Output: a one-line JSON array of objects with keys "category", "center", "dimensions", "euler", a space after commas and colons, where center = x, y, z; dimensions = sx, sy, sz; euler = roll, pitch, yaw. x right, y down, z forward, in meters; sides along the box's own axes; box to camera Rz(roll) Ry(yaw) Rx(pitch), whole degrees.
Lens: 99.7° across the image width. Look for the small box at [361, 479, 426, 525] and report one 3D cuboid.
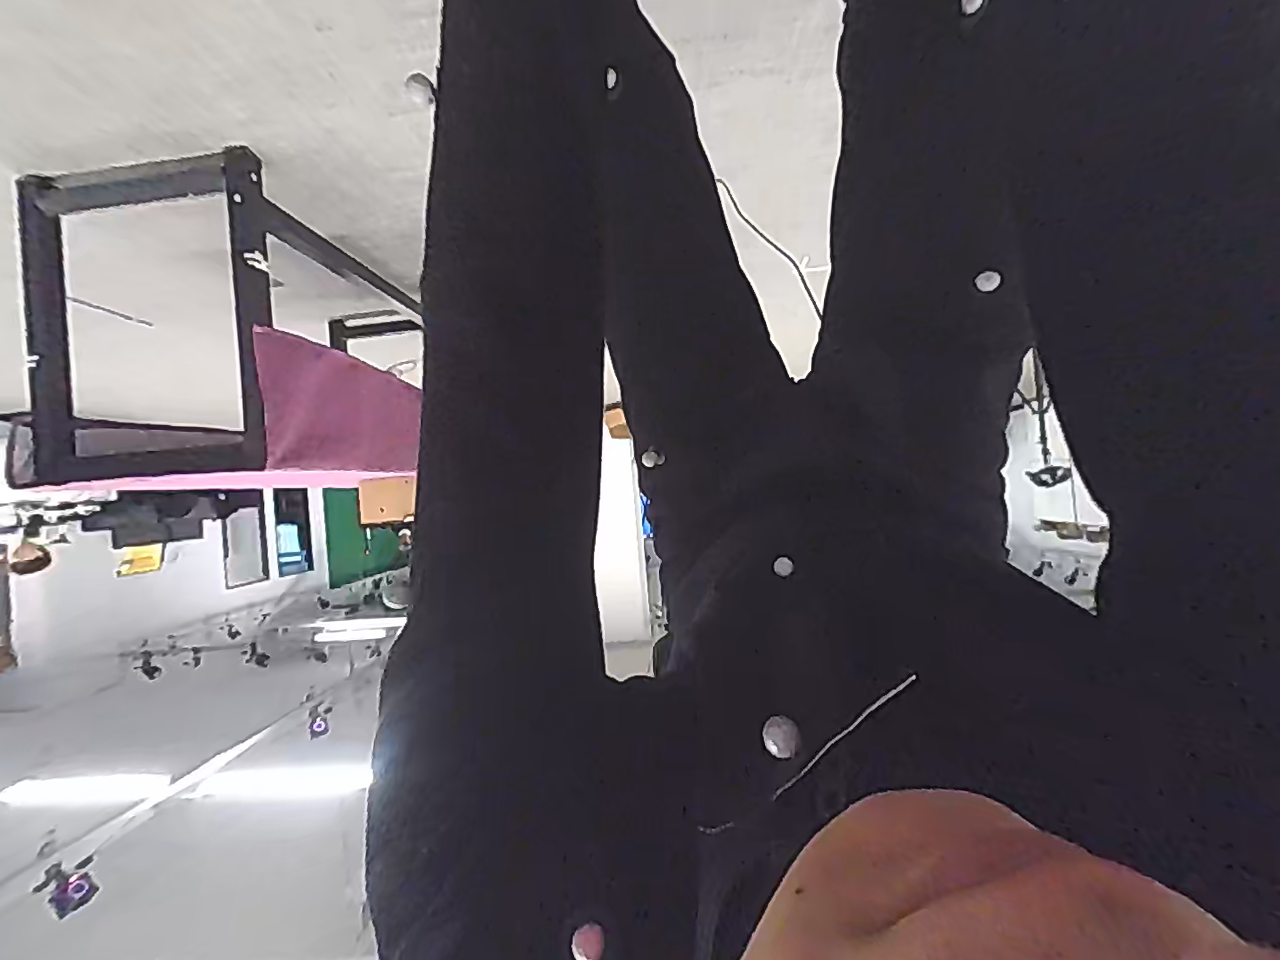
[{"category": "small box", "center": [-0.978, 0.082, 2.141], "dimensions": [0.179, 0.176, 0.168], "euler": [-4, 179, 16]}]
